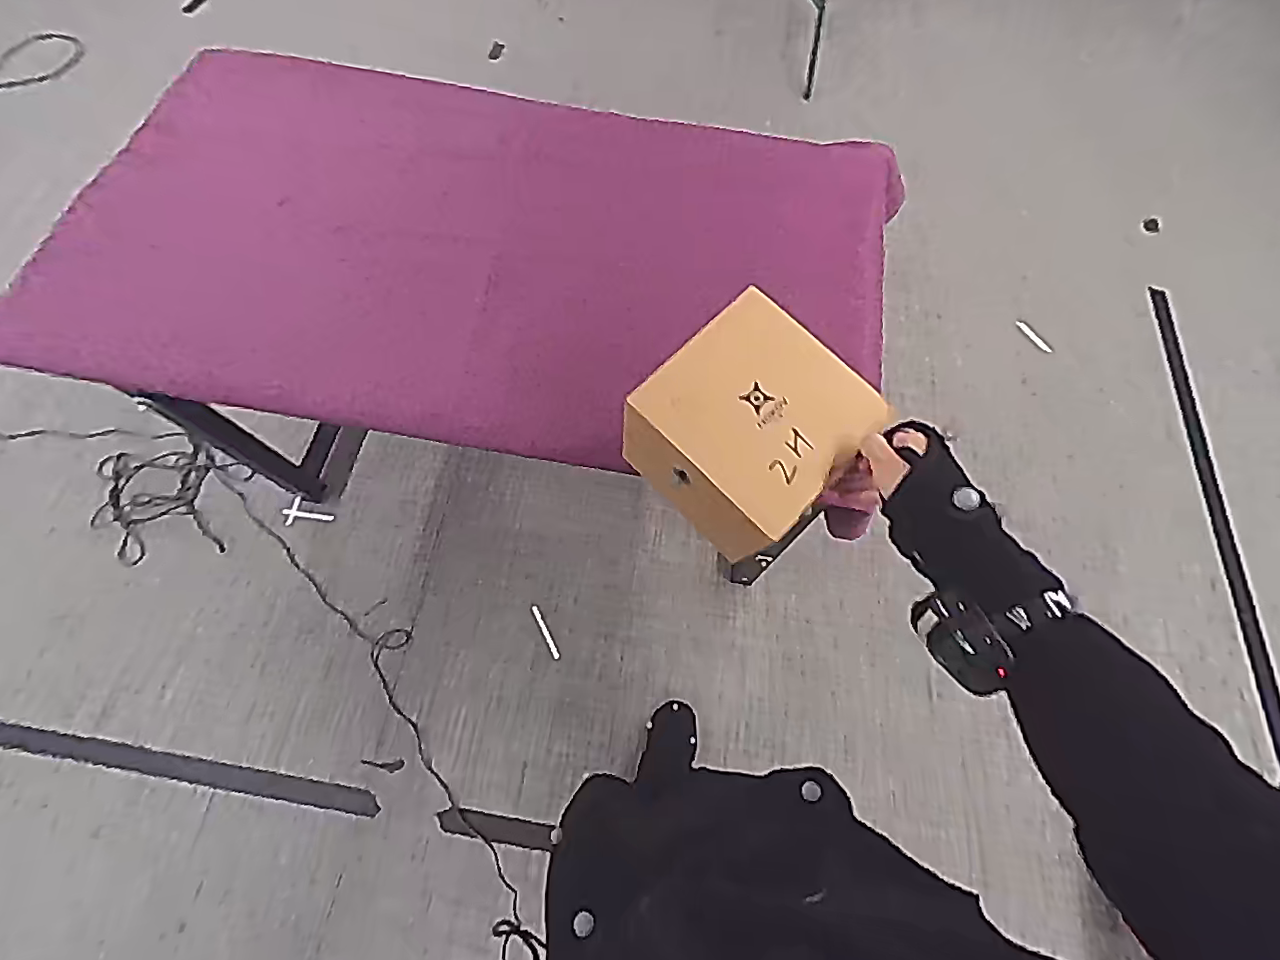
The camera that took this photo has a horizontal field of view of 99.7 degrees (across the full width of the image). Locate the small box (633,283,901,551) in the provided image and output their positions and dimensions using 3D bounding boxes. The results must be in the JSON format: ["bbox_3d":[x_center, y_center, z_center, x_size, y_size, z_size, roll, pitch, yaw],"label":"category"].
[{"bbox_3d":[0.106,-0.048,0.540,0.168,0.176,0.179,-42,81,-12],"label":"small box"}]
